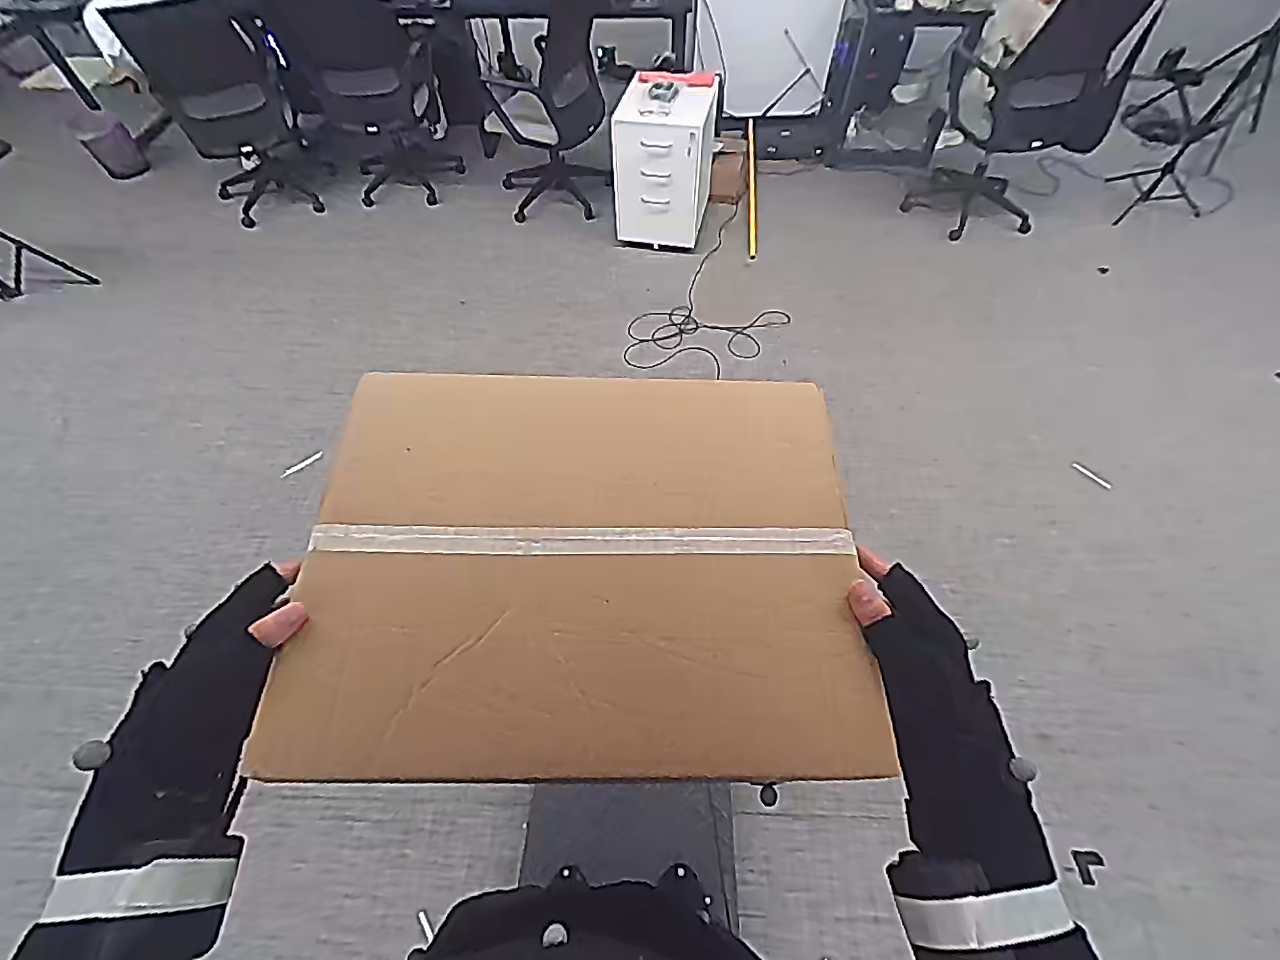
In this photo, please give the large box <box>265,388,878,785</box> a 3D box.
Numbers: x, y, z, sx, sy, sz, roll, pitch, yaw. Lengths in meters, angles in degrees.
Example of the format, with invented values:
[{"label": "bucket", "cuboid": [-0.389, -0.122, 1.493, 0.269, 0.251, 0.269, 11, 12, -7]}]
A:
[{"label": "large box", "cuboid": [-0.046, 0.124, 0.548, 0.408, 0.320, 0.320, 1, 61, -3]}]
